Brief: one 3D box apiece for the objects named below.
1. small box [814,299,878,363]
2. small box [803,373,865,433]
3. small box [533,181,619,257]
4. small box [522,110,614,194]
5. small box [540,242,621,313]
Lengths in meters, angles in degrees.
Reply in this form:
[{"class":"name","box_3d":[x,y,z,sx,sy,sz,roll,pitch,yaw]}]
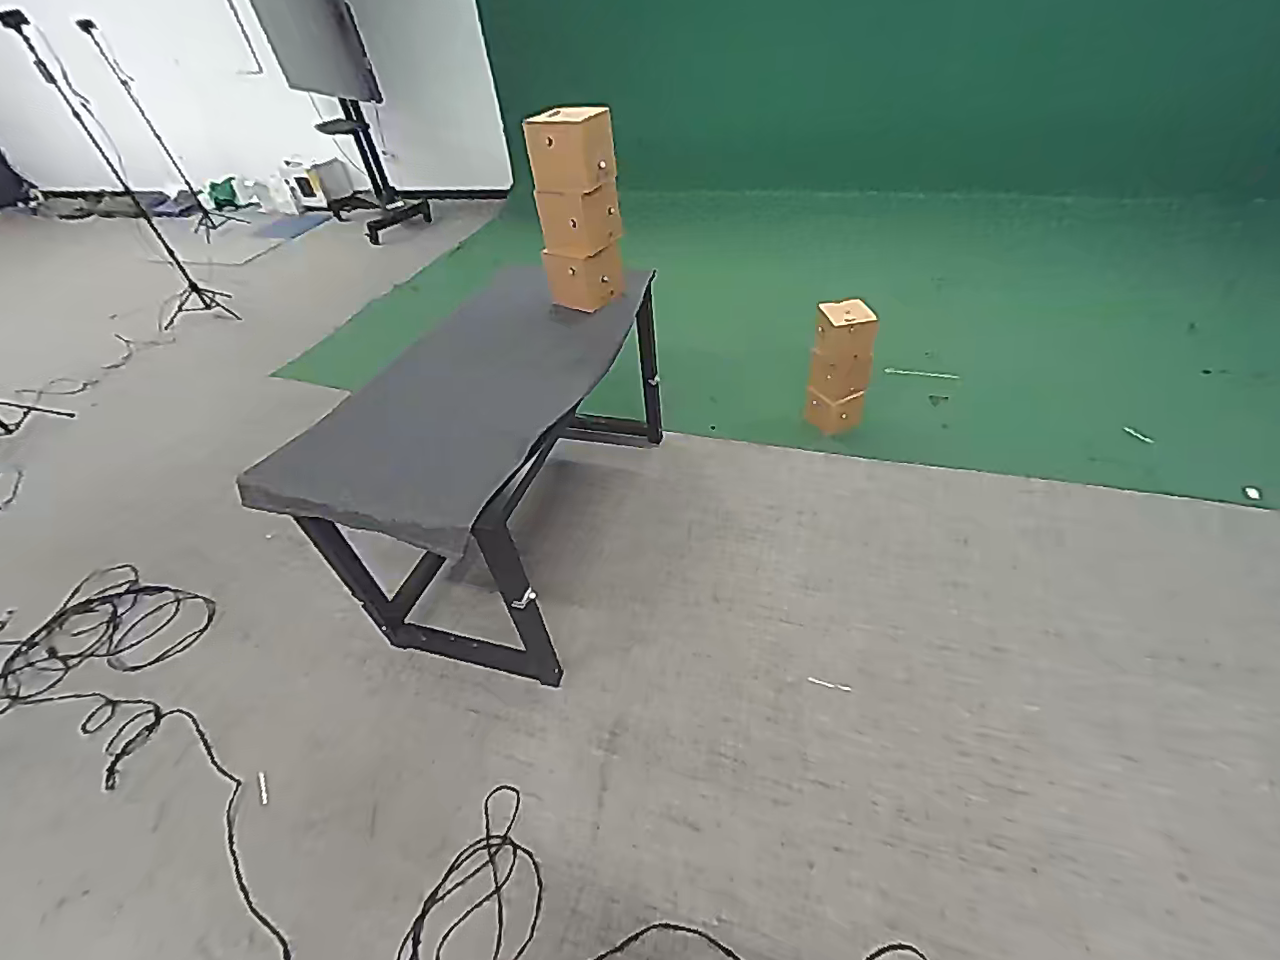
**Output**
[{"class":"small box","box_3d":[0.780,-0.569,2.072,0.168,0.176,0.179,-10,43,-2]},{"class":"small box","box_3d":[0.813,-0.318,2.282,0.168,0.176,0.179,-23,45,-16]},{"class":"small box","box_3d":[-0.180,-0.769,1.584,0.179,0.176,0.168,18,48,28]},{"class":"small box","box_3d":[-0.189,-0.892,1.475,0.179,0.176,0.168,15,47,23]},{"class":"small box","box_3d":[-0.178,-0.640,1.685,0.179,0.176,0.168,23,51,31]}]
